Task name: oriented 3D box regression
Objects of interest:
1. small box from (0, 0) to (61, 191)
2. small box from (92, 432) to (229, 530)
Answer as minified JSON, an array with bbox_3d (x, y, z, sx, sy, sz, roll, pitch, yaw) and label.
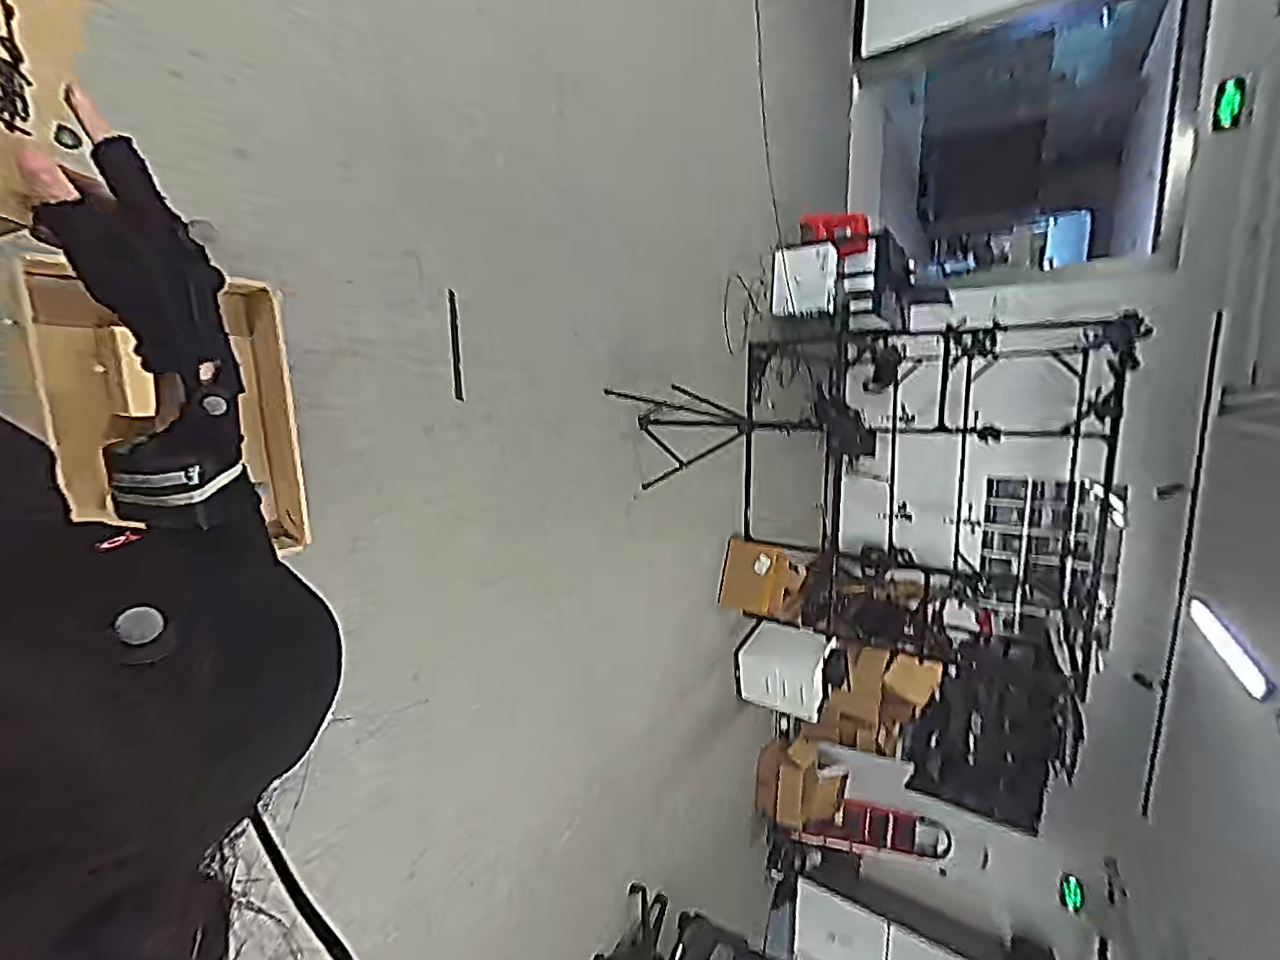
[{"bbox_3d":[-0.435,-0.250,0.259,0.179,0.176,0.168,15,83,-61],"label":"small box"},{"bbox_3d":[-0.987,-0.006,1.116,0.168,0.176,0.179,-15,105,-55],"label":"small box"}]
